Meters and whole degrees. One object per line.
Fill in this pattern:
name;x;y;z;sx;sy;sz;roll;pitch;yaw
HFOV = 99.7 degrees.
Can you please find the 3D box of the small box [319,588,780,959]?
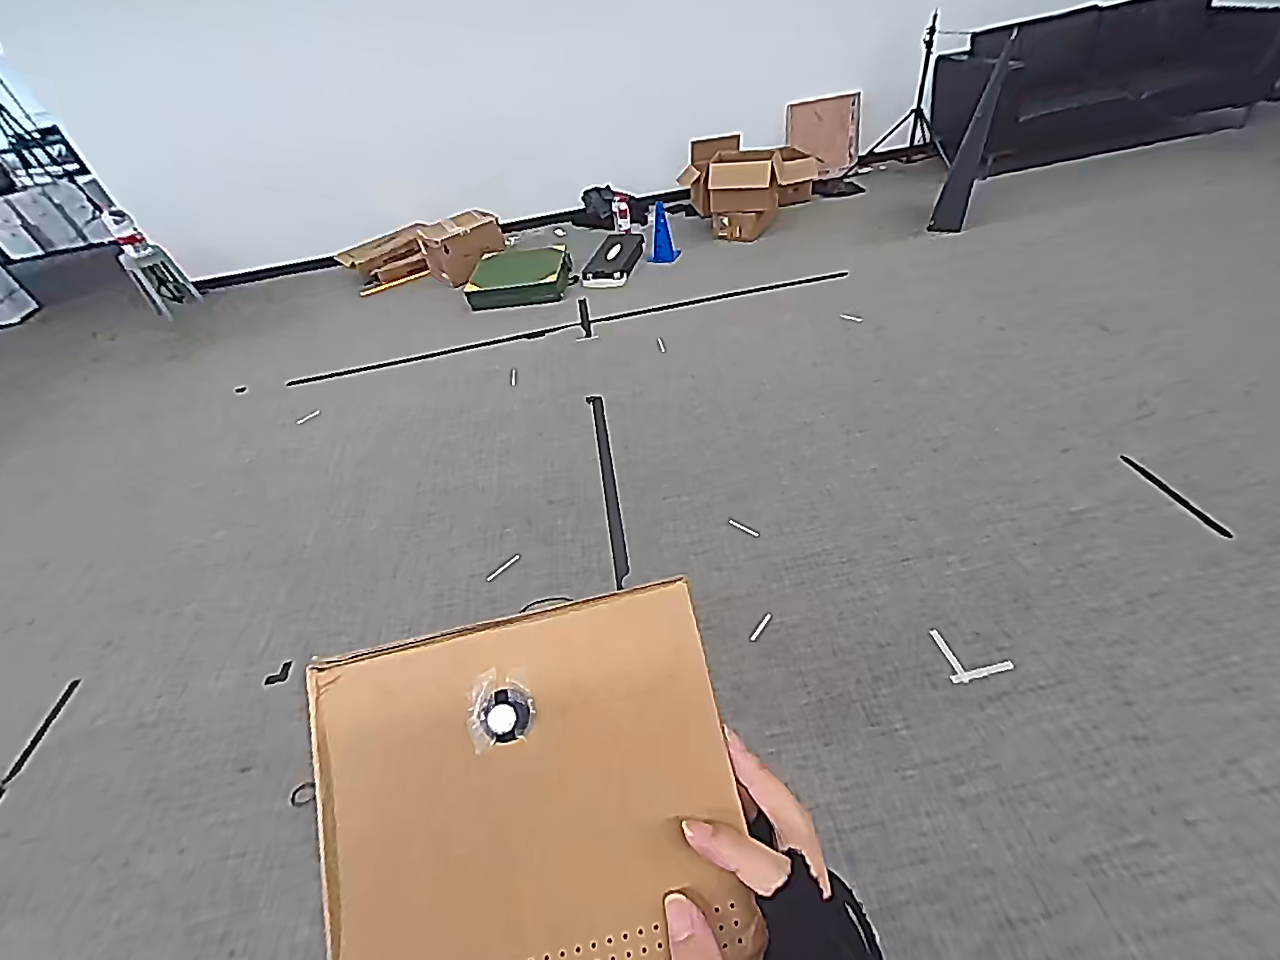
small box;-0.044;0.167;0.304;0.179;0.168;0.176;-12;77;-4
